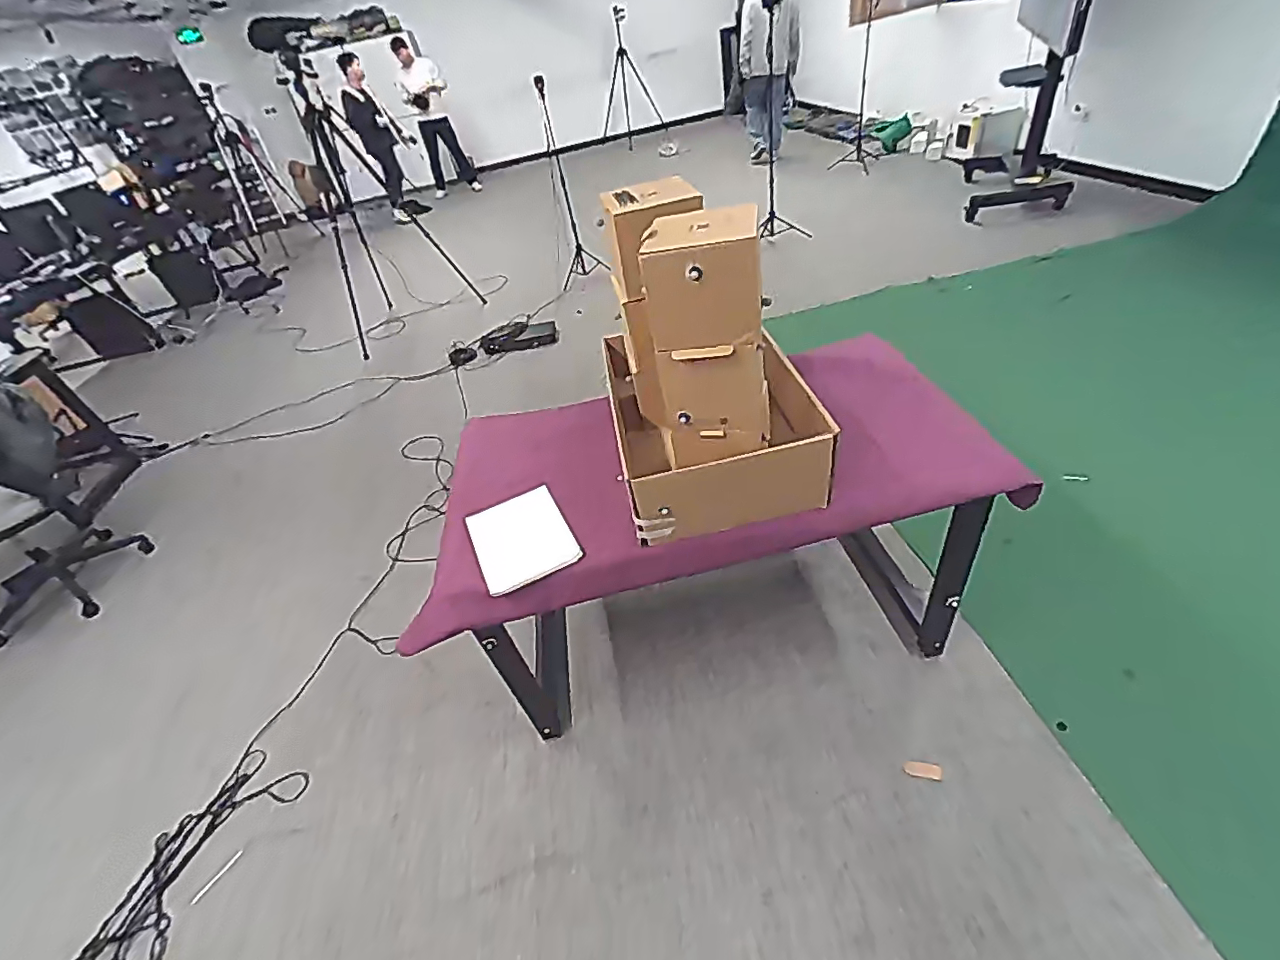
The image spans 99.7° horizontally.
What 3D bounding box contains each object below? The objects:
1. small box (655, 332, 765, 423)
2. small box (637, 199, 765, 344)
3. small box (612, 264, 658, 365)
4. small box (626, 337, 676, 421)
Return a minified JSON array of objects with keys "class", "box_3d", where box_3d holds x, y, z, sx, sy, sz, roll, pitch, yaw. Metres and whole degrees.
[{"class":"small box","box_3d":[0.138,-0.217,0.993,0.168,0.176,0.179,0,41,18]},{"class":"small box","box_3d":[0.109,-0.335,0.886,0.179,0.176,0.168,-1,42,16]},{"class":"small box","box_3d":[0.047,-0.377,1.208,0.179,0.176,0.168,-14,42,-1]},{"class":"small box","box_3d":[0.069,-0.260,1.318,0.168,0.176,0.179,-12,42,1]}]
